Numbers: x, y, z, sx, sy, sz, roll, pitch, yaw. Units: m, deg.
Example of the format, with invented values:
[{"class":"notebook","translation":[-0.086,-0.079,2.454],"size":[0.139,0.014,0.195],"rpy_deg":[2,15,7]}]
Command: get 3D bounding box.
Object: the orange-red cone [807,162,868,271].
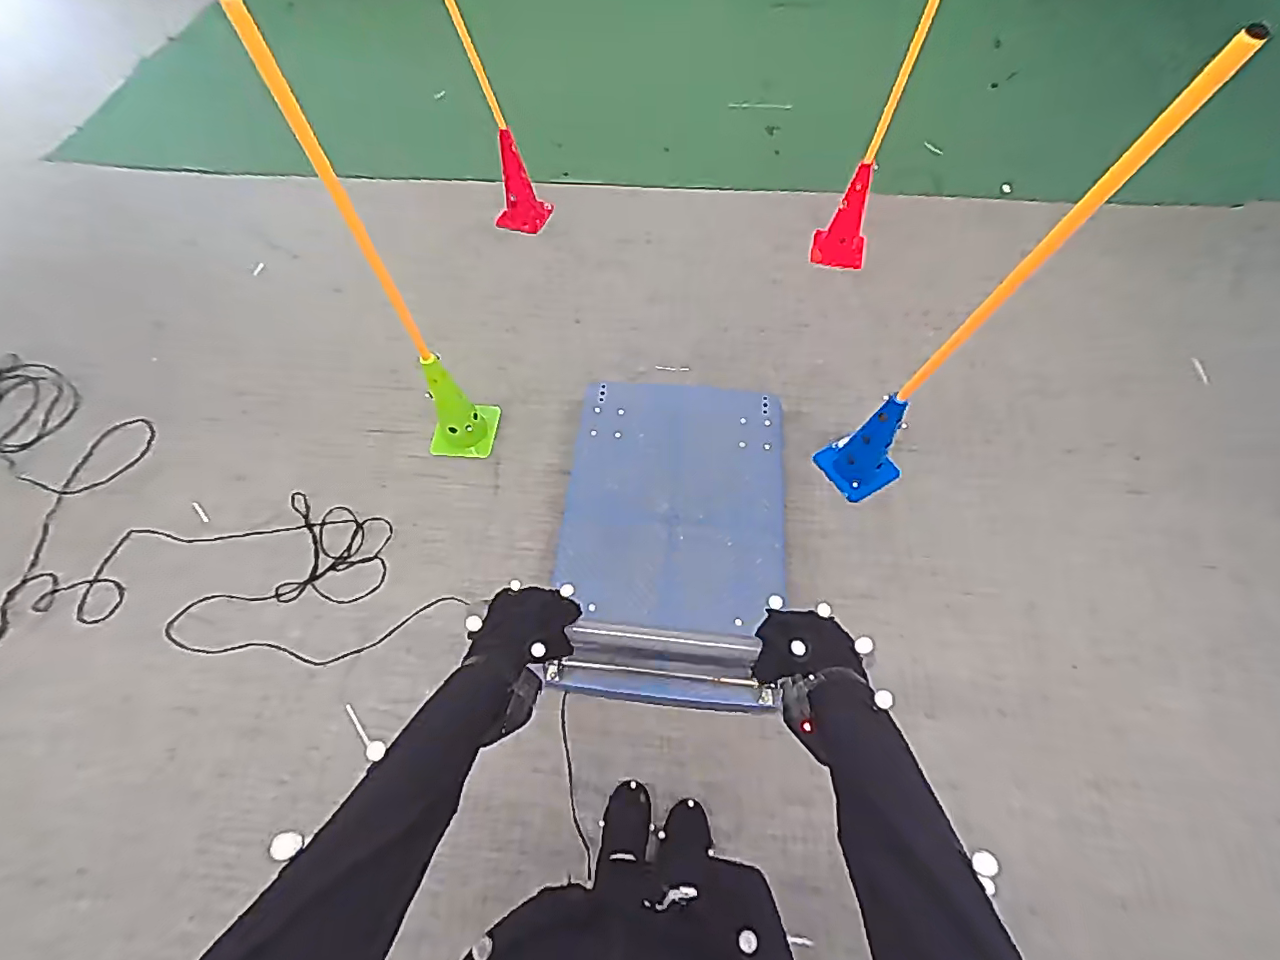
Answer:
[{"class":"orange-red cone","translation":[0.761,-0.981,1.983],"size":[0.198,0.360,0.199],"rpy_deg":[14,64,10]}]
